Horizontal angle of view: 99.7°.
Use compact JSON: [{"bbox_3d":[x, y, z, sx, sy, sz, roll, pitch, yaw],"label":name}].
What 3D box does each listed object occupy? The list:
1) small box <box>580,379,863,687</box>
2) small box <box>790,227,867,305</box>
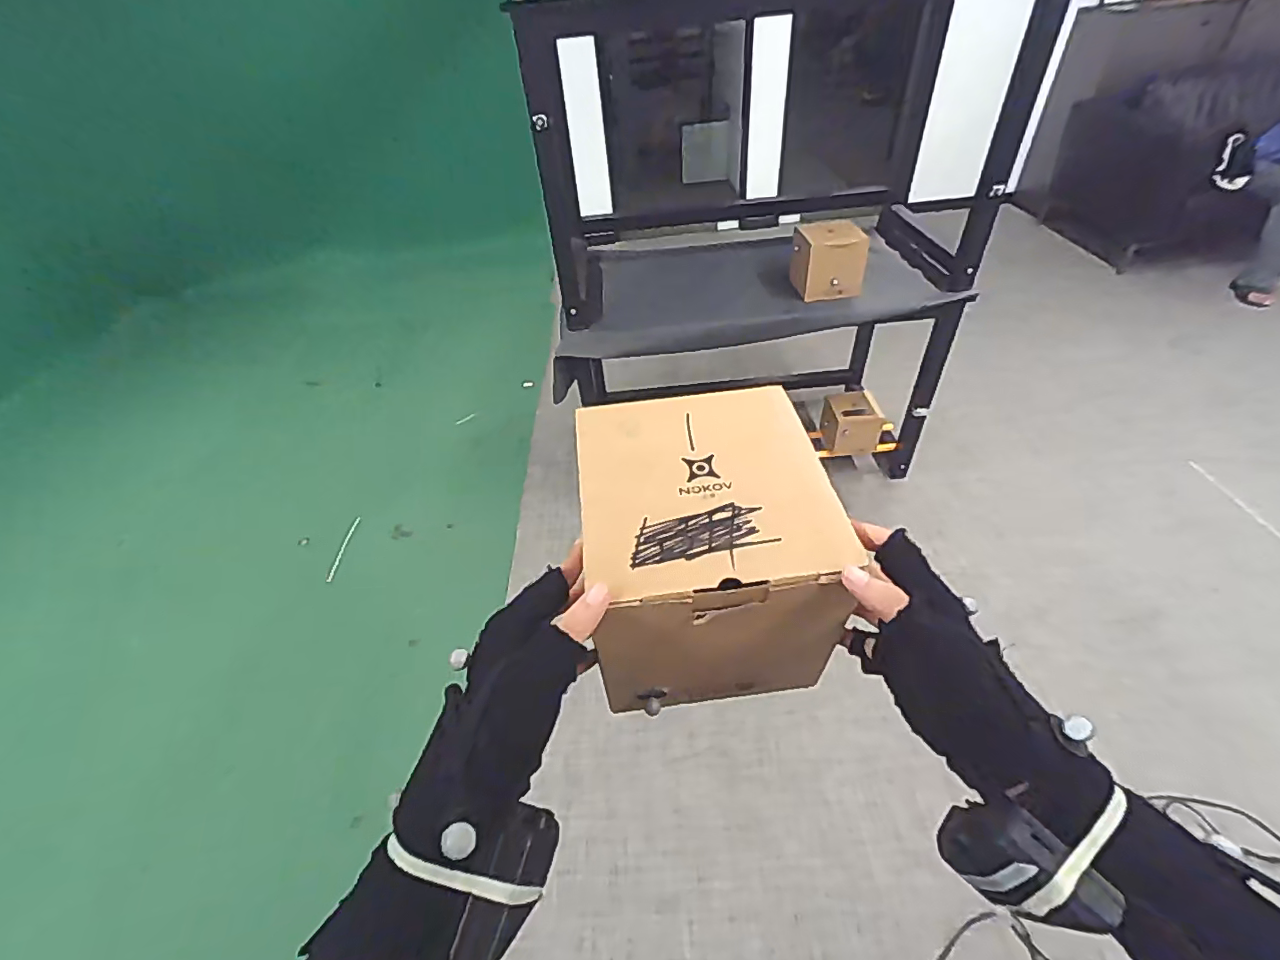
[{"bbox_3d":[0.047,0.047,0.426,0.168,0.176,0.179,-7,46,-3],"label":"small box"},{"bbox_3d":[0.562,-0.647,1.636,0.168,0.176,0.179,-6,41,1],"label":"small box"}]
